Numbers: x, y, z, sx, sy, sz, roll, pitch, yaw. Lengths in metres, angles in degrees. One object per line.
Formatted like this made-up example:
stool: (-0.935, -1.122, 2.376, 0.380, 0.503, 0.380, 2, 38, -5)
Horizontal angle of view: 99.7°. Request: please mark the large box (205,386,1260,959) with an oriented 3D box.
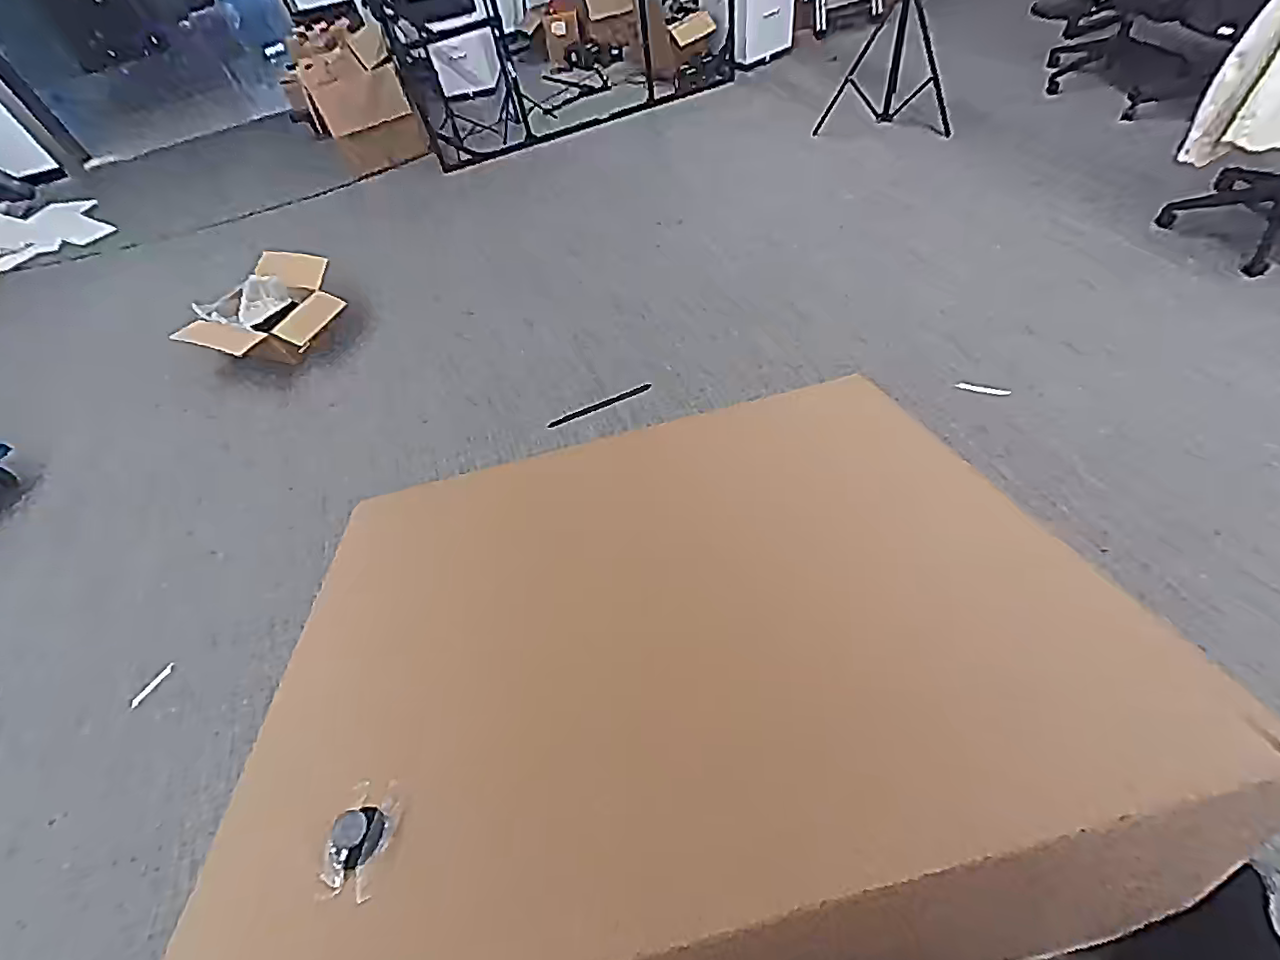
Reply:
large box: (0.035, 0.173, 0.395, 0.408, 0.320, 0.320, -15, 36, -1)
